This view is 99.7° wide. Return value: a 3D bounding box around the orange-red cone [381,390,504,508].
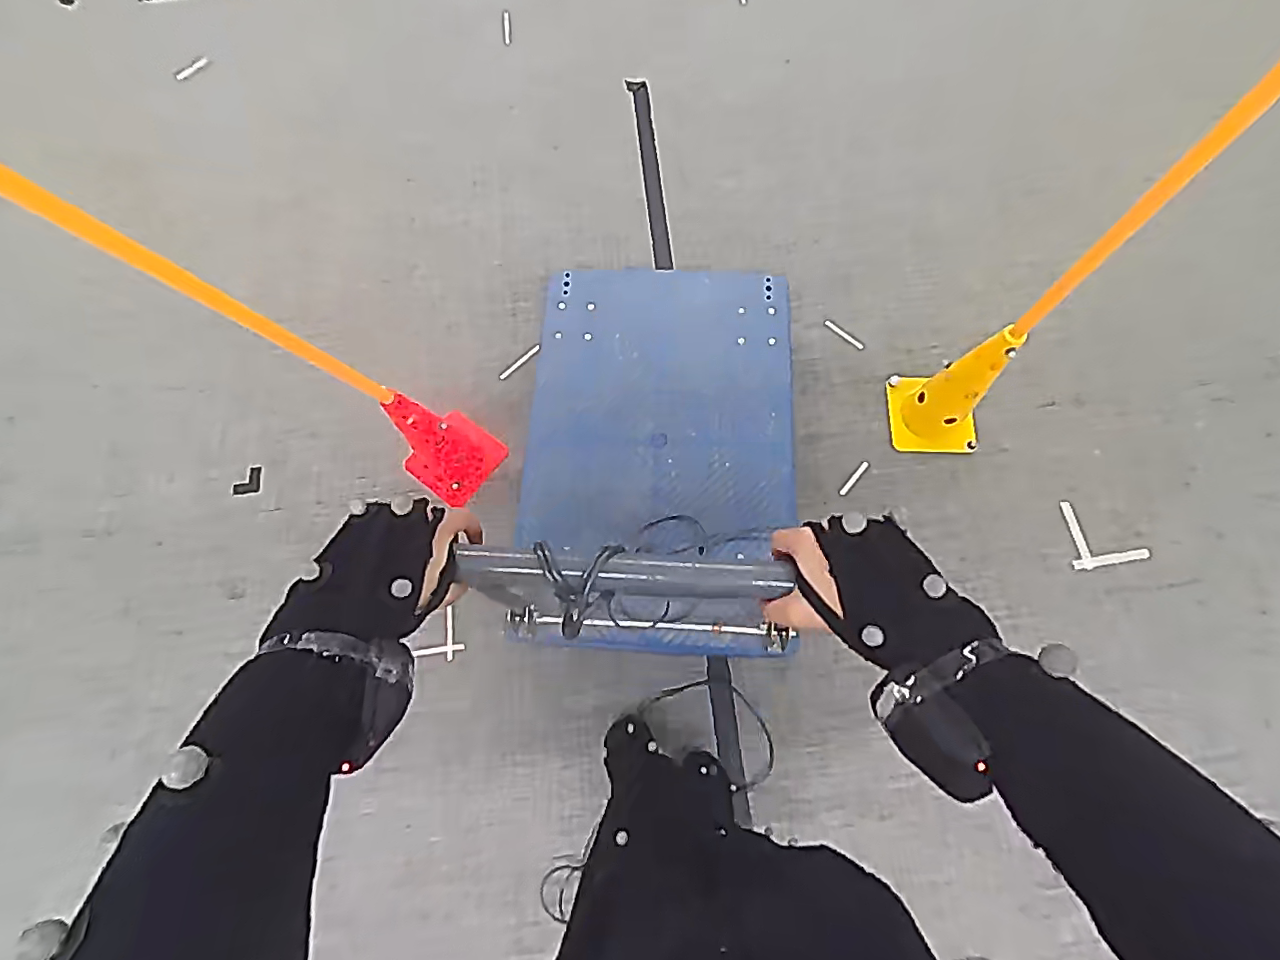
[{"bbox_3d":[-0.471,-0.103,1.193,0.198,0.360,0.199,37,77,12],"label":"orange-red cone"}]
